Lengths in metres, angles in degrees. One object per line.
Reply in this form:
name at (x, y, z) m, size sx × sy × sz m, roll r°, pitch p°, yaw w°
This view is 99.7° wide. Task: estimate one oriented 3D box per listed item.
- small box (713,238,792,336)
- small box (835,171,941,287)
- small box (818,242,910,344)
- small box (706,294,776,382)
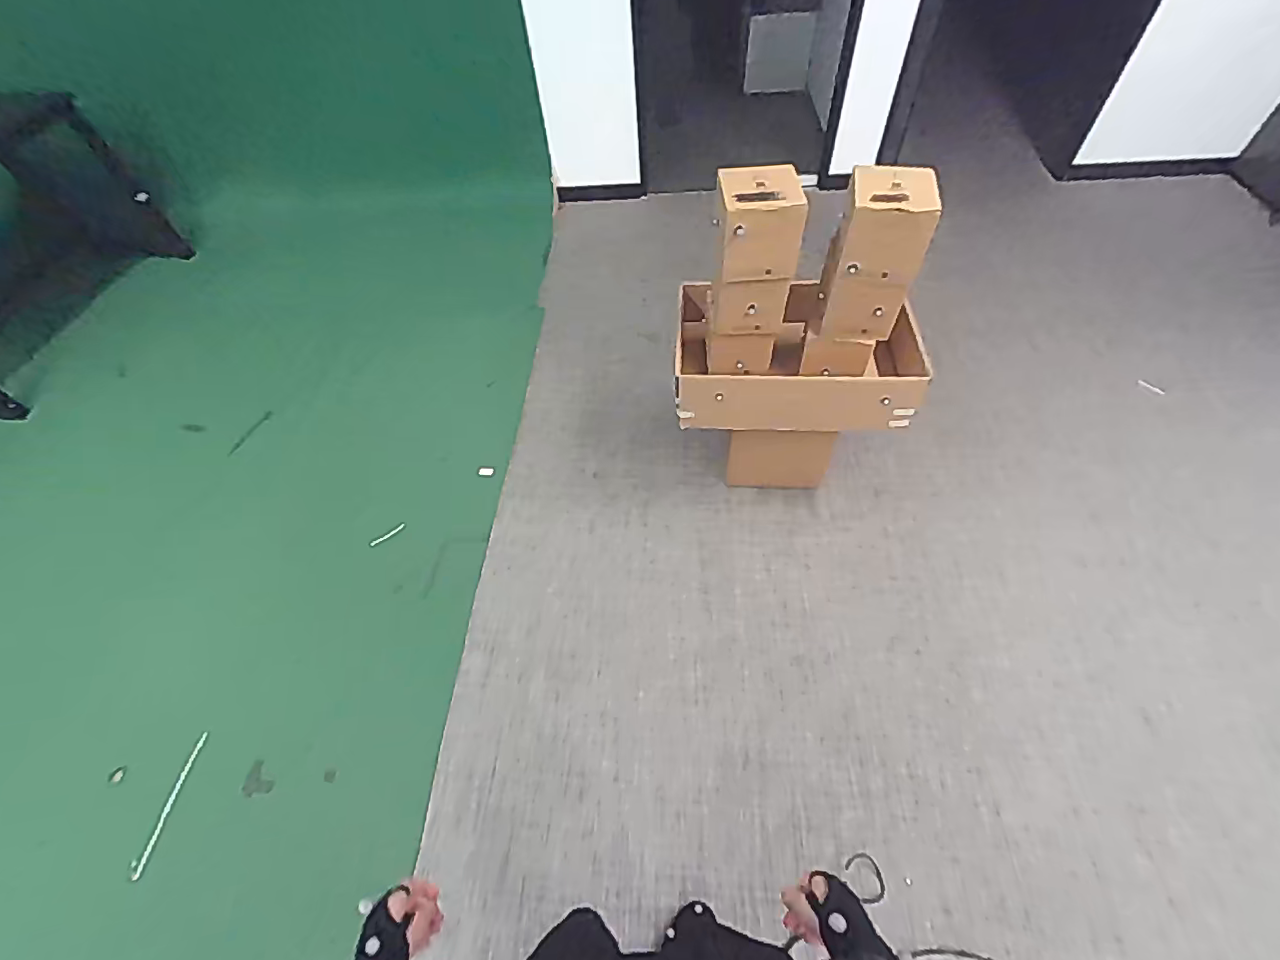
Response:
small box at (0.271, -0.473, 1.341) m, size 0.168 × 0.176 × 0.179 m, roll -1°, pitch 55°, yaw 2°
small box at (0.530, -0.543, 1.176) m, size 0.168 × 0.176 × 0.179 m, roll 9°, pitch 55°, yaw 9°
small box at (0.534, -0.451, 1.311) m, size 0.168 × 0.176 × 0.179 m, roll 7°, pitch 55°, yaw 8°
small box at (0.271, -0.389, 1.483) m, size 0.168 × 0.176 × 0.179 m, roll -2°, pitch 54°, yaw 3°
